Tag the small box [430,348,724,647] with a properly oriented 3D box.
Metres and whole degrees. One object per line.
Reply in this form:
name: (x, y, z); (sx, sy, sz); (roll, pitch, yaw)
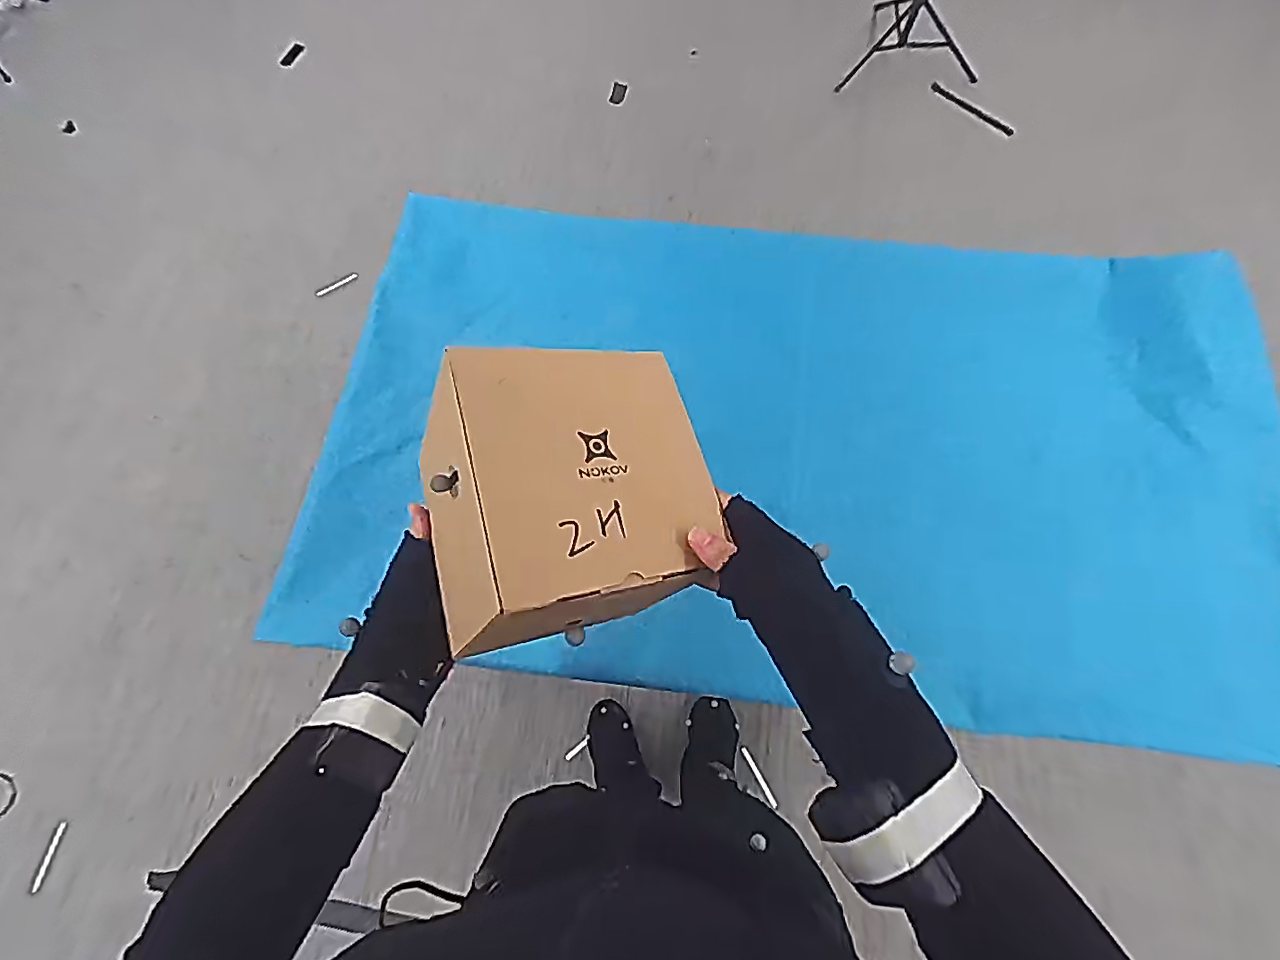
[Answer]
small box: (-0.065, 0.020, 0.422); (0.168, 0.176, 0.179); (-4, 71, -27)
